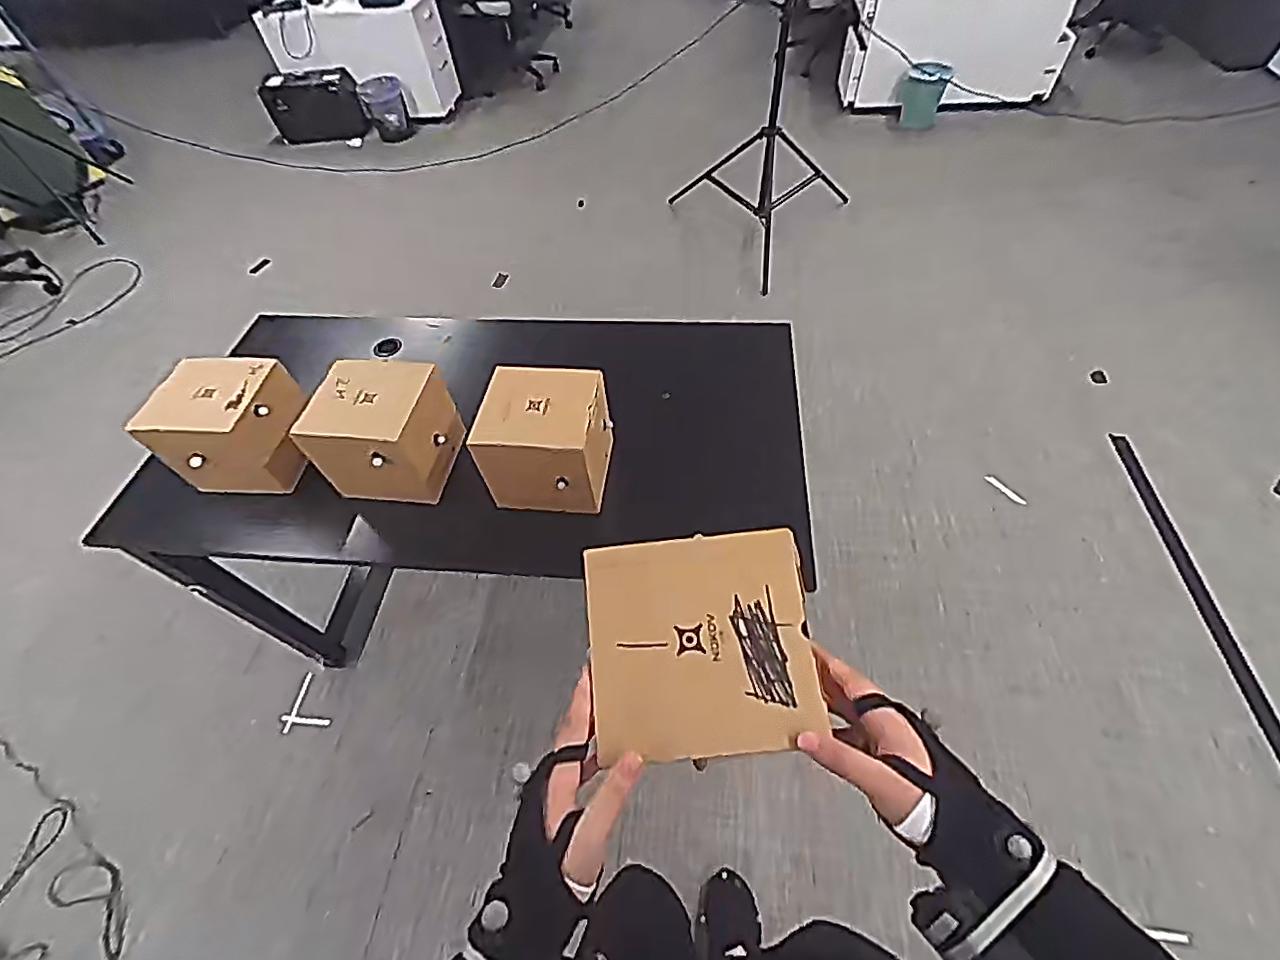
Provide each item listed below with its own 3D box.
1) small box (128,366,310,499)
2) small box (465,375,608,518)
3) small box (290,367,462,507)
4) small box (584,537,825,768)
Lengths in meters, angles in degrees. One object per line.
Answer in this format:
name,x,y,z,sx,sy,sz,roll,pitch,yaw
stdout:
small box,-0.695,-0.078,0.936,0.179,0.176,0.168,1,54,5
small box,-0.152,-0.051,0.876,0.179,0.176,0.168,2,53,7
small box,-0.424,-0.067,0.906,0.179,0.176,0.168,3,54,7
small box,0.048,0.158,0.500,0.179,0.176,0.168,-6,68,1
